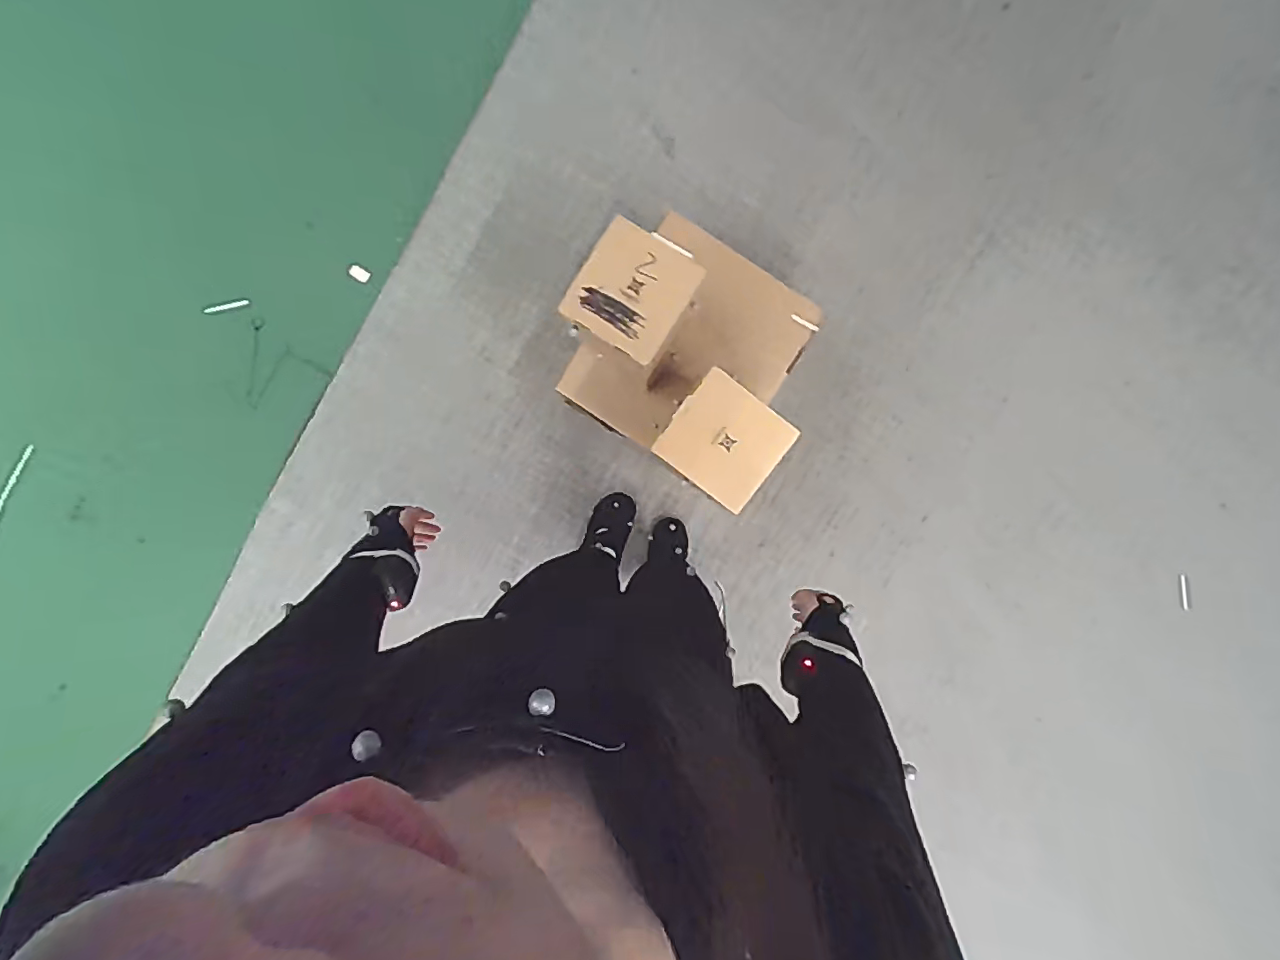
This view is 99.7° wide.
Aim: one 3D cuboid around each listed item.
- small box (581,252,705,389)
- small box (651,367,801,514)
[{"bbox_3d":[0.004,-0.303,1.066,0.168,0.176,0.179,37,92,0],"label":"small box"},{"bbox_3d":[0.135,-0.068,0.914,0.179,0.176,0.168,38,93,-2],"label":"small box"}]
